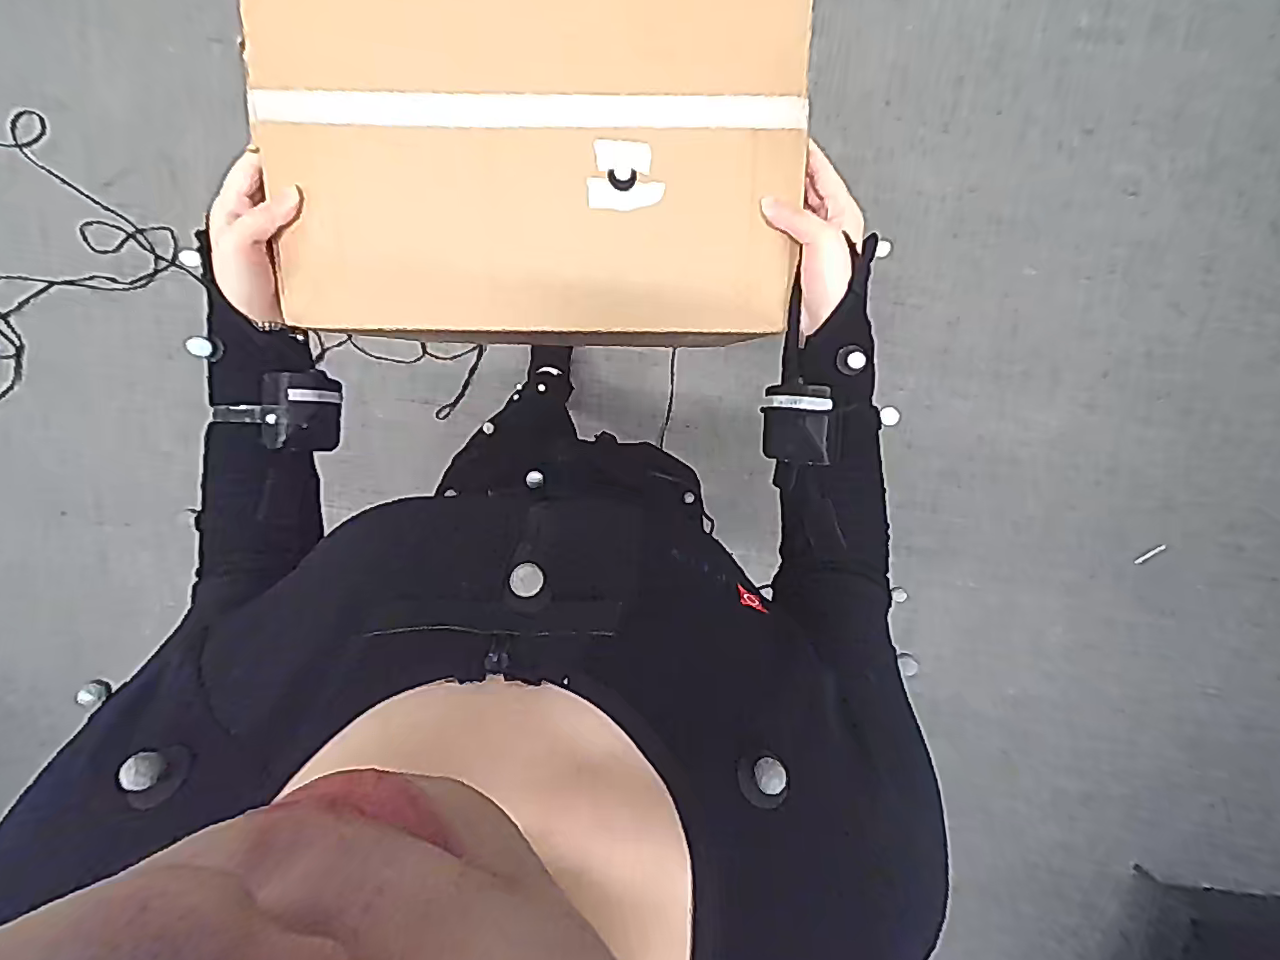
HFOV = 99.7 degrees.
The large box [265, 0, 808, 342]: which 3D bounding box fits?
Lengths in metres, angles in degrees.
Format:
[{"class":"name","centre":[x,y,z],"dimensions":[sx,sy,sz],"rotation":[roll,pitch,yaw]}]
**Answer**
[{"class":"large box","centre":[-0.080,-0.311,0.555],"dimensions":[0.408,0.320,0.320],"rotation":[0,103,-3]}]
